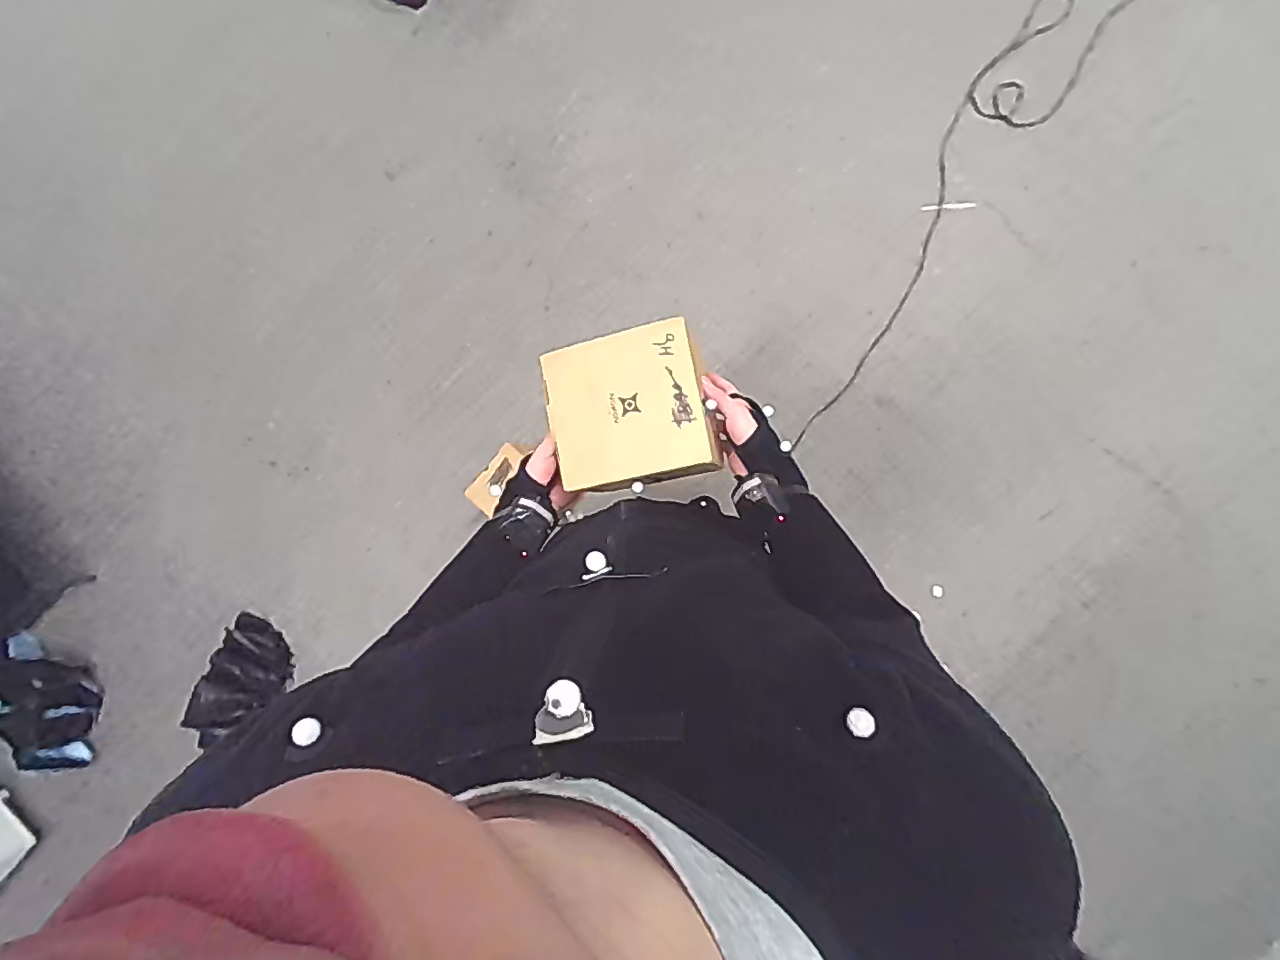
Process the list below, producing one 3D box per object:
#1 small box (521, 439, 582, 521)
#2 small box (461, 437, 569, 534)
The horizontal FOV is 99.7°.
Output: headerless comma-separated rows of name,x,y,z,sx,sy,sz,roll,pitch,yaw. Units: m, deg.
small box,-0.291,0.006,1.522,0.179,0.176,0.168,42,95,3
small box,-0.306,0.014,1.358,0.179,0.176,0.168,41,95,4
